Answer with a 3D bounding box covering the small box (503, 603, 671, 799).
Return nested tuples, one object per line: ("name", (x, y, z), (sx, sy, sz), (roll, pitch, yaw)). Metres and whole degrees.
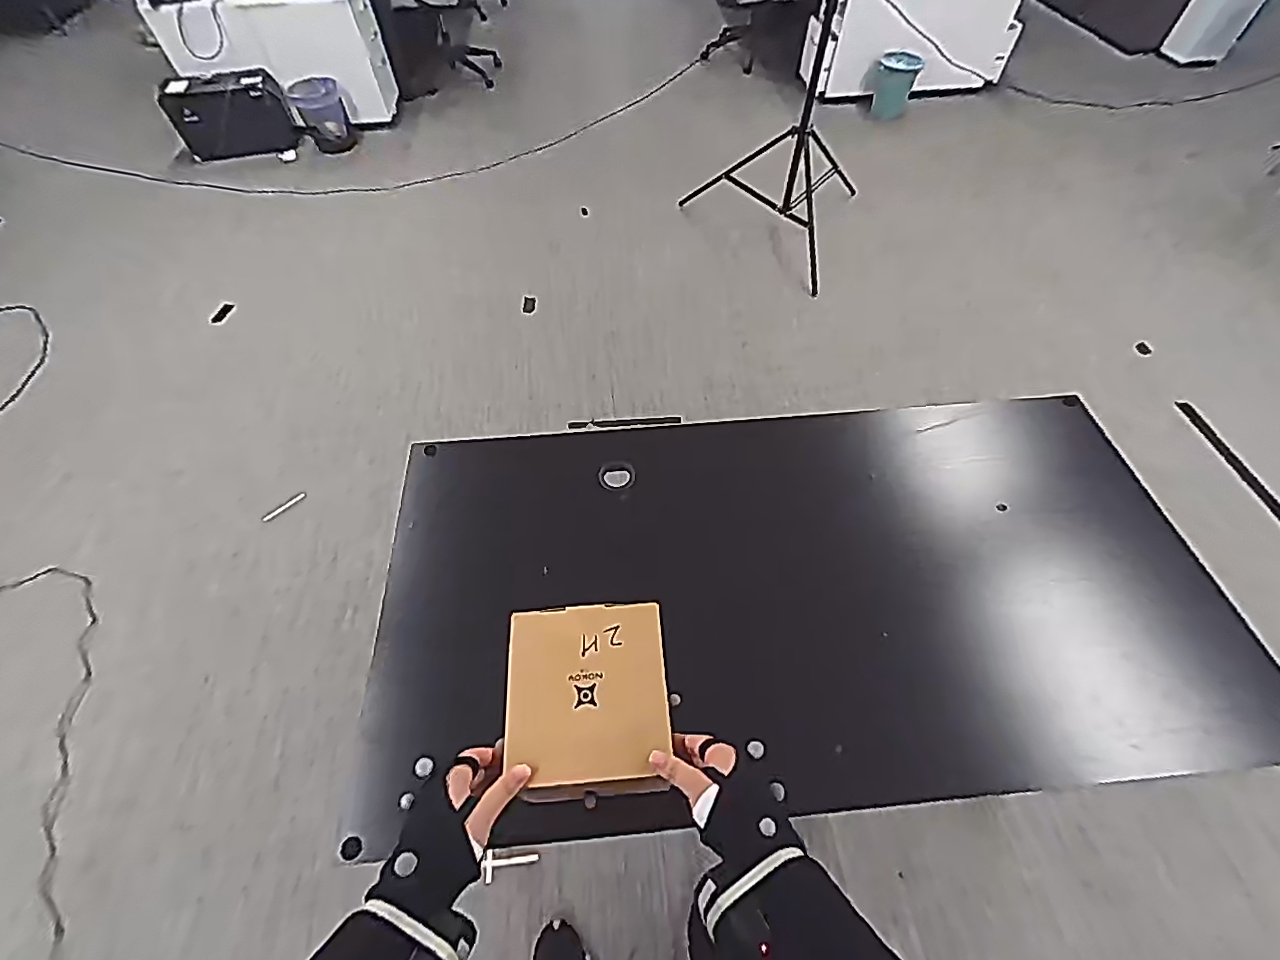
("small box", (-0.053, 0.261, 0.625), (0.168, 0.176, 0.179), (-5, 55, -2))
